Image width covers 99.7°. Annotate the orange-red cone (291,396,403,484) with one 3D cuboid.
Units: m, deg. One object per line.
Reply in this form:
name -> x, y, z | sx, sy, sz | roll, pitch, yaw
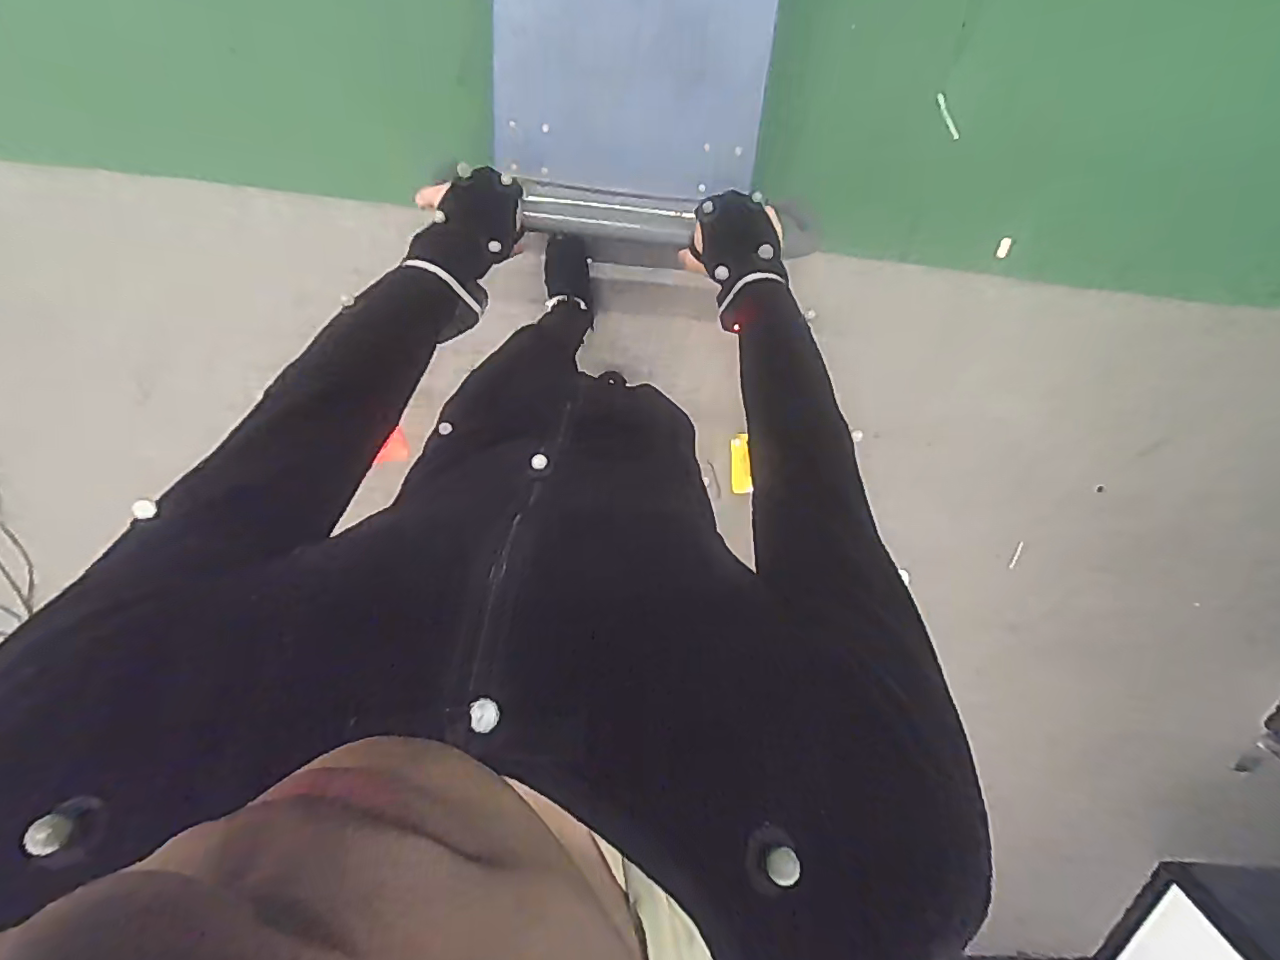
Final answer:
orange-red cone -> -0.795, -0.073, 1.405 | 0.199, 0.360, 0.198 | -8, 113, 1
